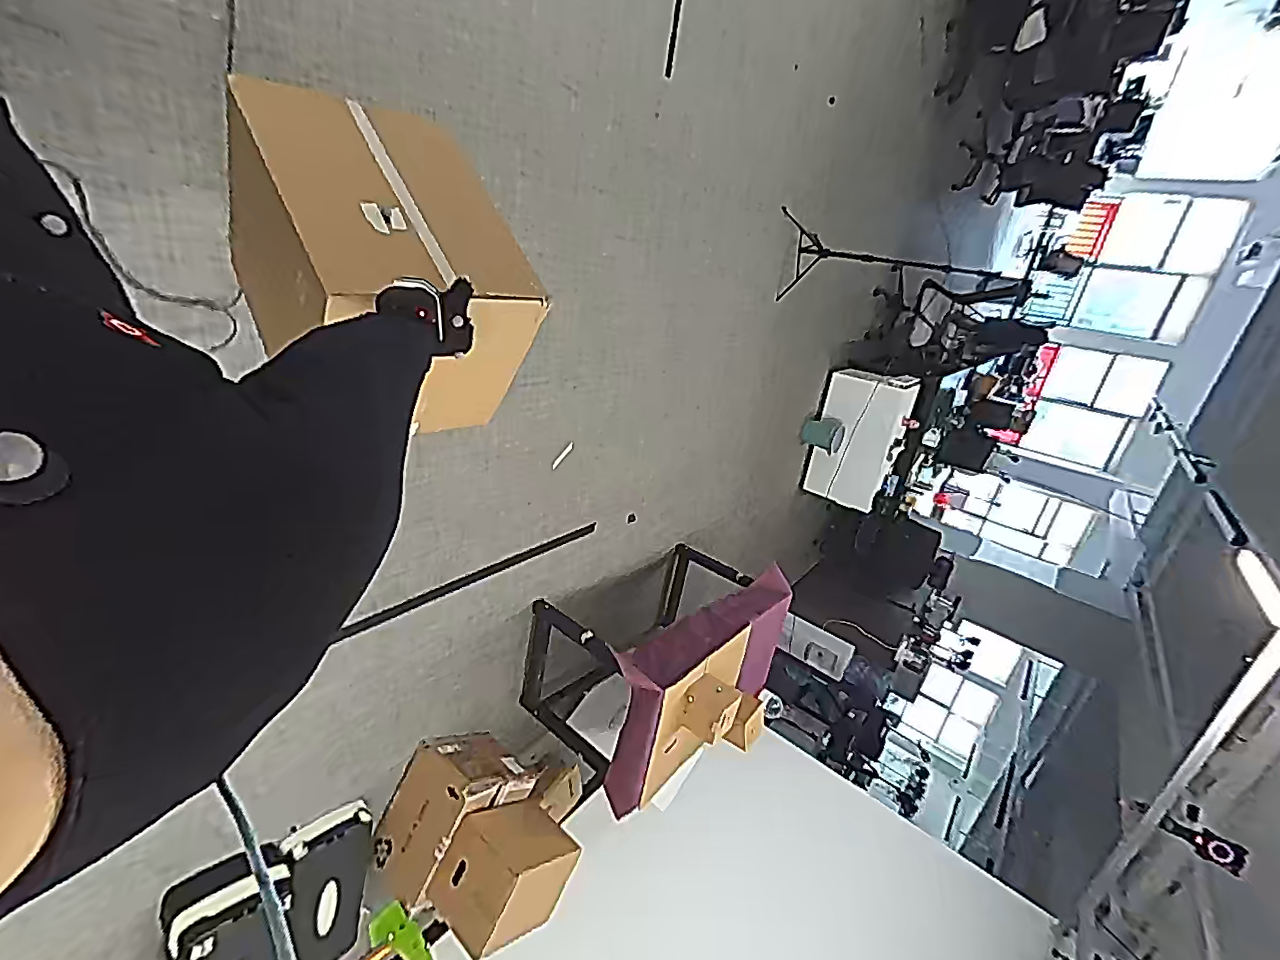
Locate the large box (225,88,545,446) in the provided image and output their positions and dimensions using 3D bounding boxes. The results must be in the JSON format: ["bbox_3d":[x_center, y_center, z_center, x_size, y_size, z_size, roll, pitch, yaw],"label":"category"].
[{"bbox_3d":[-0.430,-0.320,0.884,0.320,0.408,0.320,-17,160,-43],"label":"large box"}]
